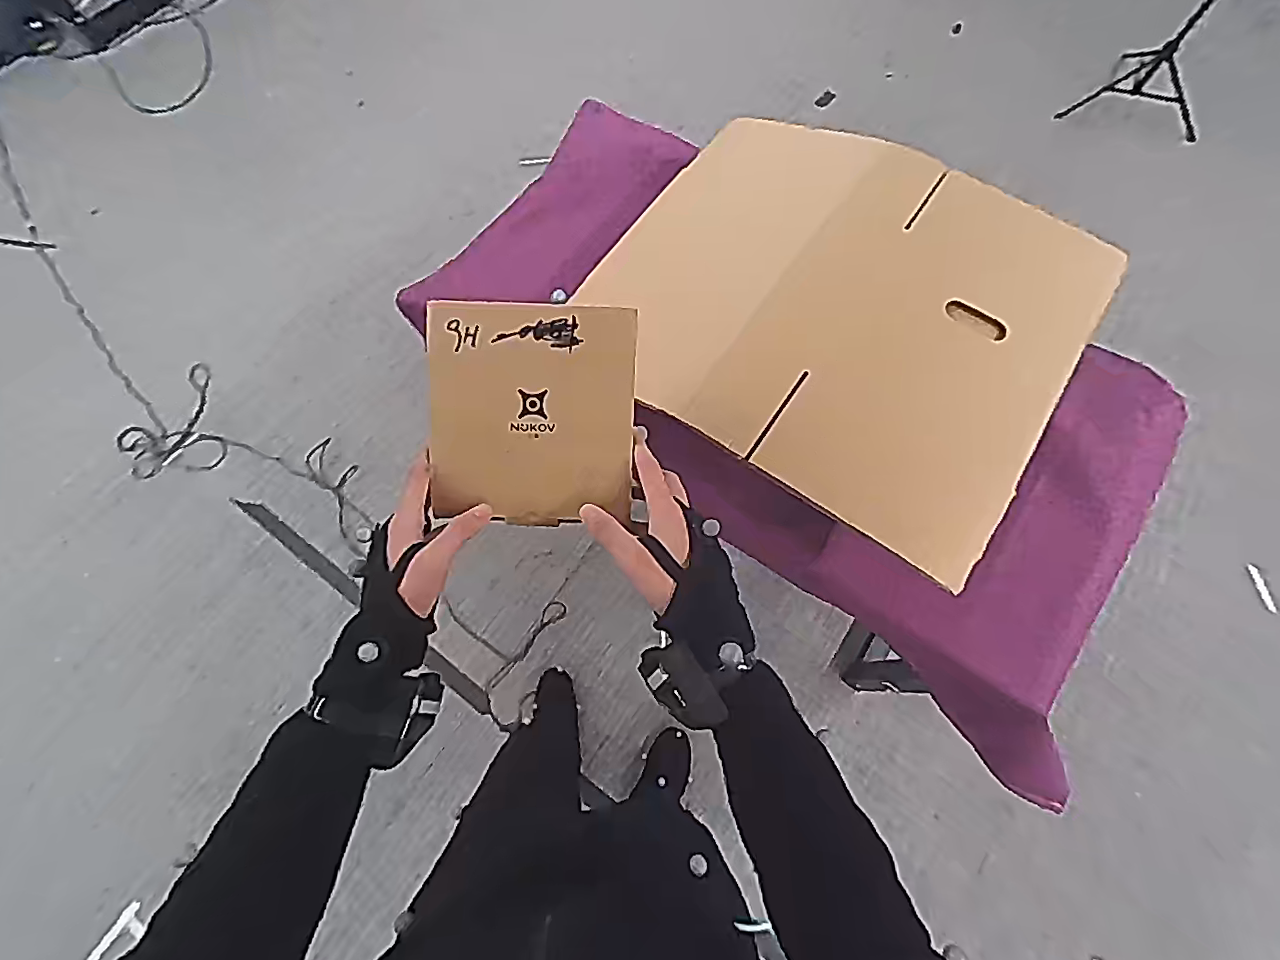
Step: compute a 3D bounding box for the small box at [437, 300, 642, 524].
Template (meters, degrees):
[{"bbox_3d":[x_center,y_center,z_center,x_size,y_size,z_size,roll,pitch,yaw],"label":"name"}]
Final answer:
[{"bbox_3d":[-0.084,-0.066,0.521,0.168,0.176,0.179,3,99,-1],"label":"small box"}]
